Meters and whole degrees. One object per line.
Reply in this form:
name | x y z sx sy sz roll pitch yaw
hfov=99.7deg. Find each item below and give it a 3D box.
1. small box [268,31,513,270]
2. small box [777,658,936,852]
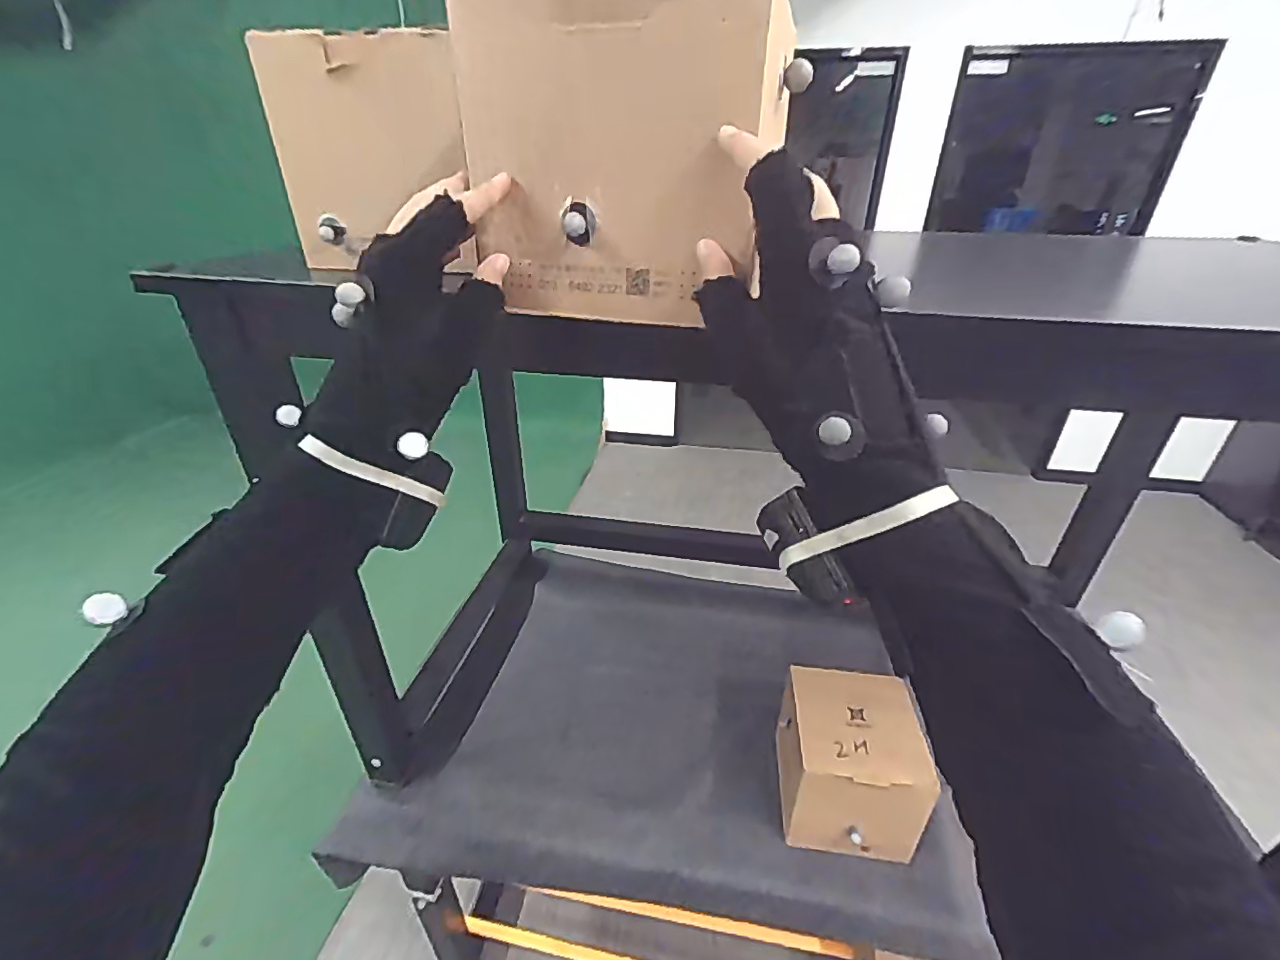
small box | -0.194 -0.299 0.513 0.168 0.176 0.179 4 29 5
small box | 0.297 0.393 0.785 0.168 0.176 0.179 4 29 7
